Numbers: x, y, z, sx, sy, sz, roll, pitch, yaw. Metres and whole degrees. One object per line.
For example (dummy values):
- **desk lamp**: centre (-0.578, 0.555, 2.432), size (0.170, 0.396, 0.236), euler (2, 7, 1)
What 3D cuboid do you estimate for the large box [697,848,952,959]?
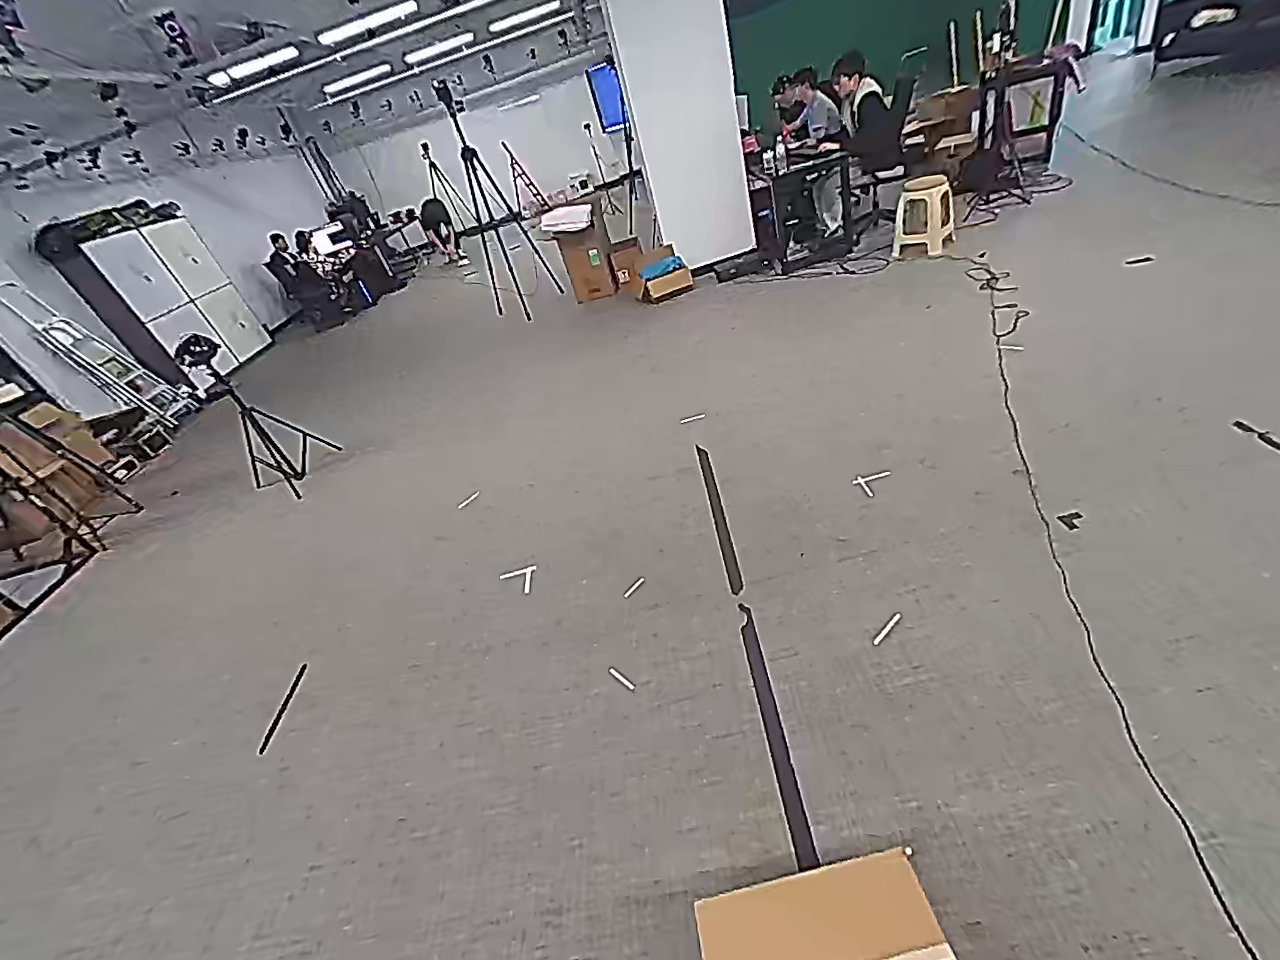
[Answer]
- **large box**: centre (0.355, 0.946, 0.971), size (0.408, 0.320, 0.320), euler (-17, 34, 3)
